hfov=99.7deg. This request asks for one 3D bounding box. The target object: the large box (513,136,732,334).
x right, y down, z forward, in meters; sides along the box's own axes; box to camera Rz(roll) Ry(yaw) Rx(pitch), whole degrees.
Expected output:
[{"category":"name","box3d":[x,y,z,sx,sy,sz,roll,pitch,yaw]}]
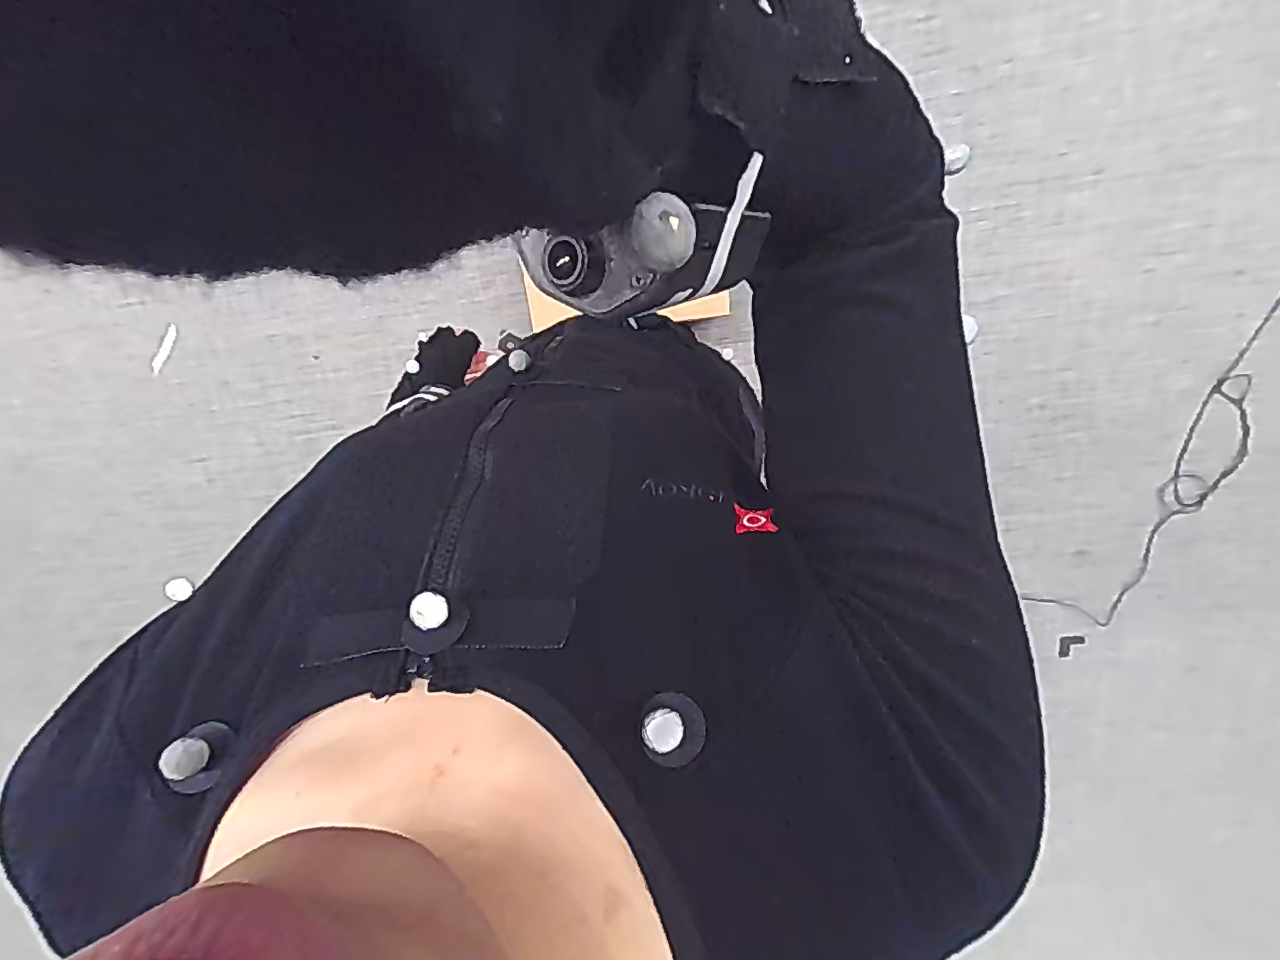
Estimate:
[{"category":"large box","box3d":[-0.024,-0.511,1.201,0.408,0.320,0.320,-6,107,5]}]
